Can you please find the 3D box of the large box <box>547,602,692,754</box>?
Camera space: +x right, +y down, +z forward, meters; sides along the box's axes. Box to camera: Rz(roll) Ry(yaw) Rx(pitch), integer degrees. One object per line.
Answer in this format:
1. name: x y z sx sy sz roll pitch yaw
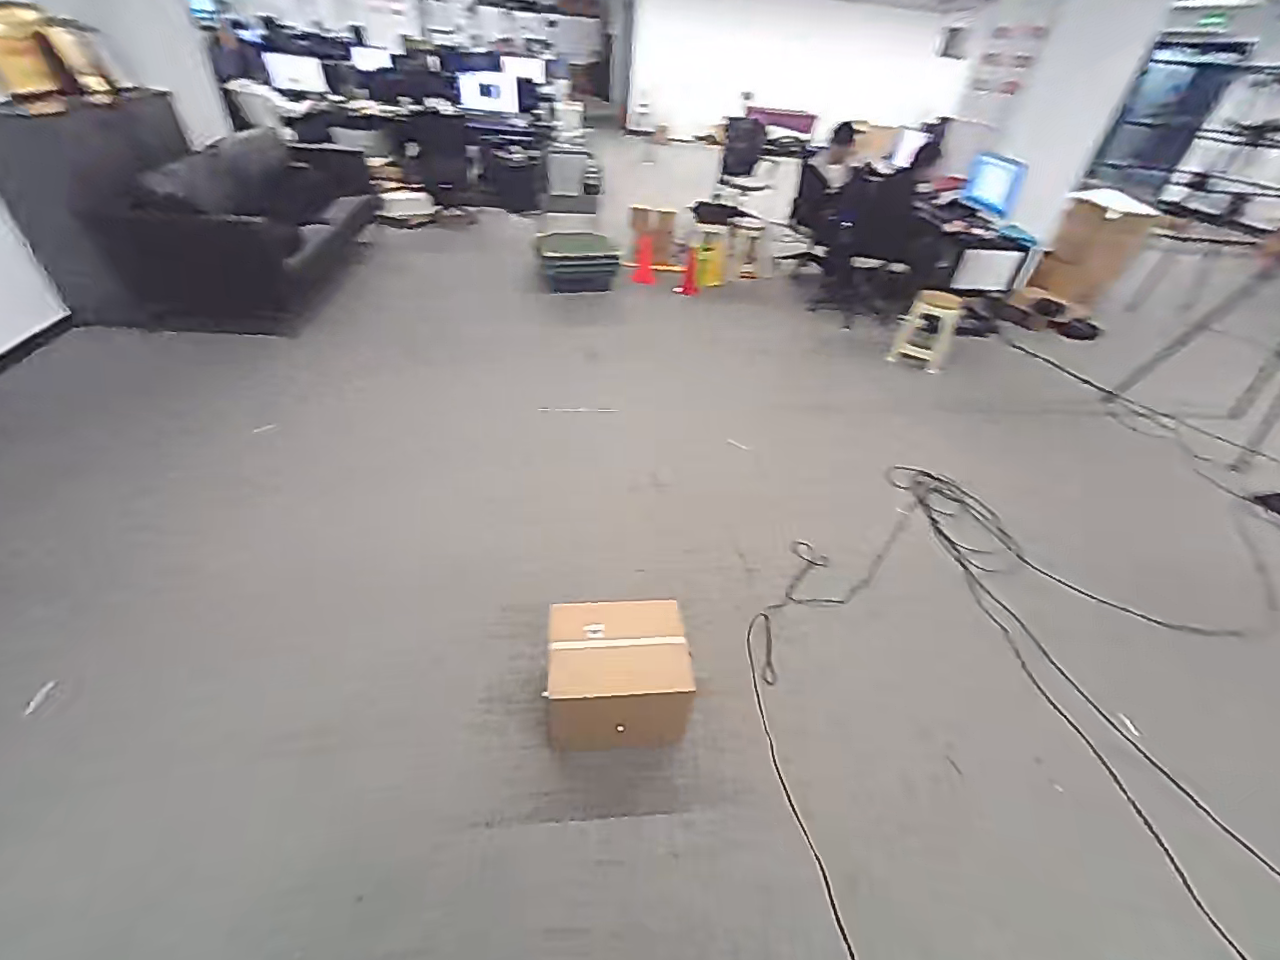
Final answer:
1. large box: -0.078 0.609 1.671 0.408 0.320 0.320 -2 39 -8
